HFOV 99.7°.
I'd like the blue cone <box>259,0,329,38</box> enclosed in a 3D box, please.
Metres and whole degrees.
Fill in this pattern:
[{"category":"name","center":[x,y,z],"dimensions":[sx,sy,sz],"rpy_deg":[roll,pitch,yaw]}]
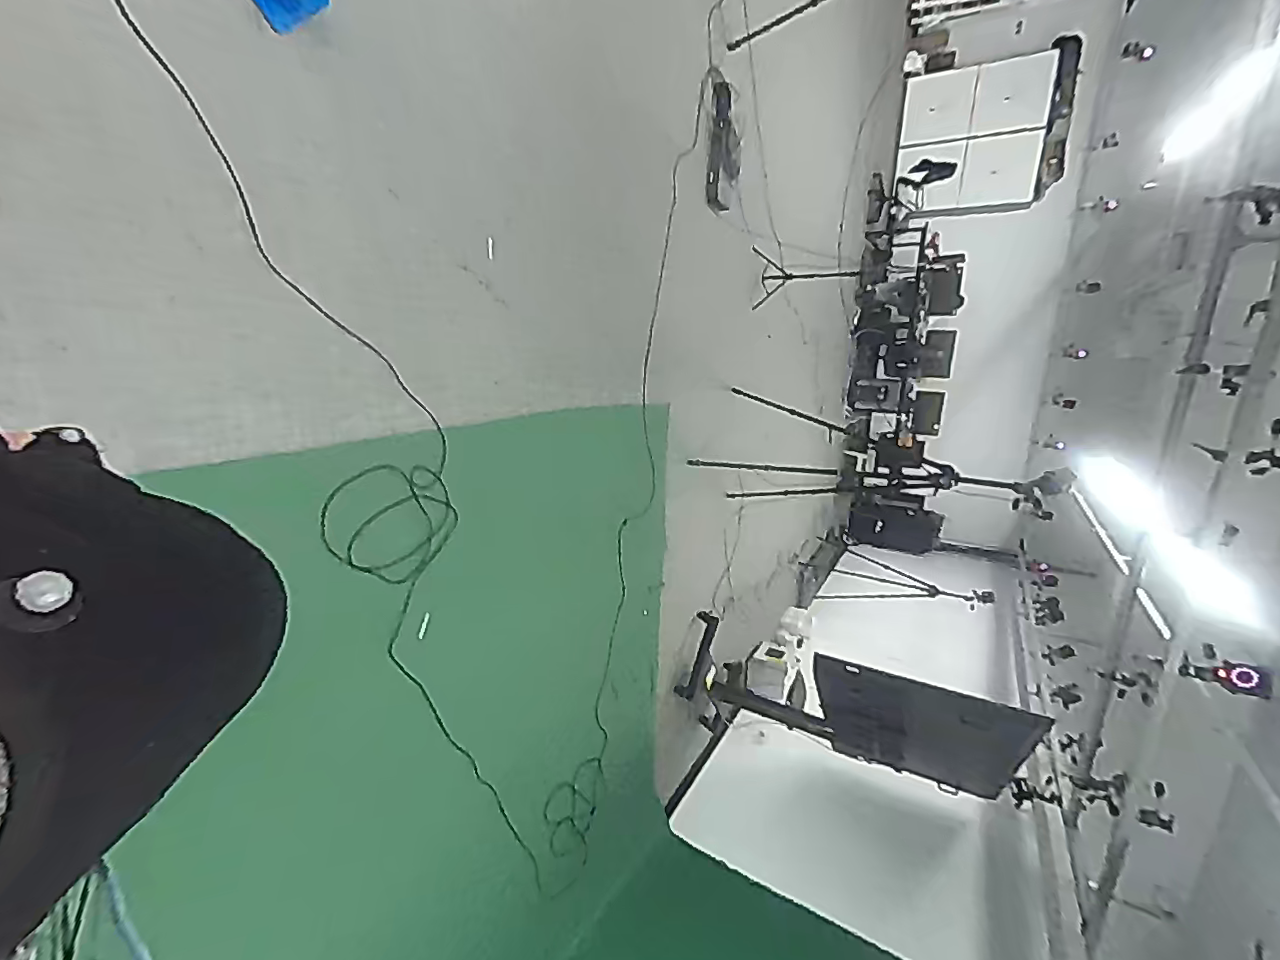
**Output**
[{"category":"blue cone","center":[-0.696,-1.155,1.170],"dimensions":[0.192,0.380,0.193],"rpy_deg":[57,48,-48]}]
